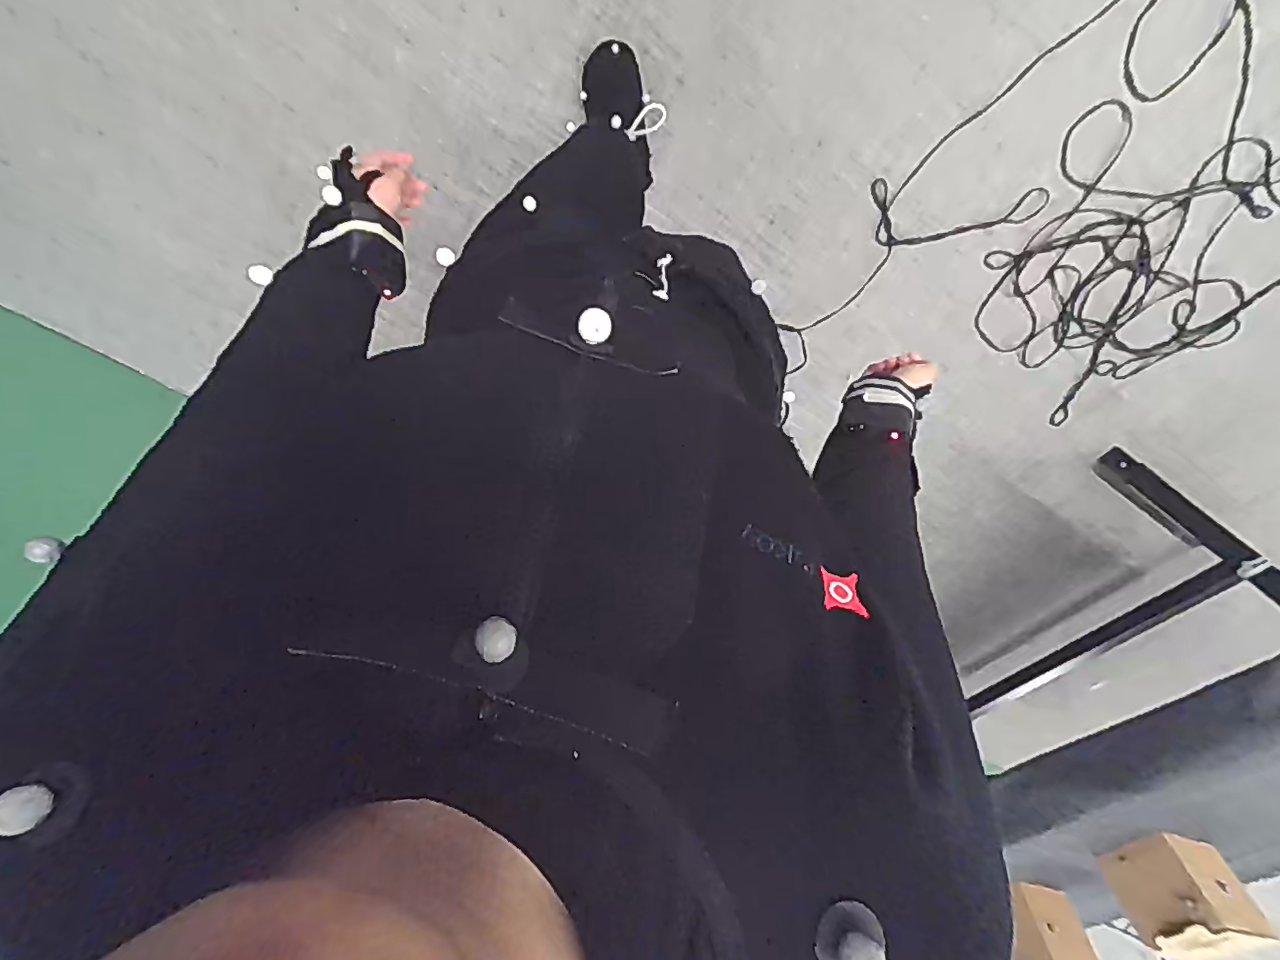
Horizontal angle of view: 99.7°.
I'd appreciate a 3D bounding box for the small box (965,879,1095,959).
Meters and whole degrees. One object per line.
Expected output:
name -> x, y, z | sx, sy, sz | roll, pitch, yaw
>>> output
small box -> 0.948, 1.109, 1.326 | 0.179, 0.176, 0.168 | 21, 125, -16
